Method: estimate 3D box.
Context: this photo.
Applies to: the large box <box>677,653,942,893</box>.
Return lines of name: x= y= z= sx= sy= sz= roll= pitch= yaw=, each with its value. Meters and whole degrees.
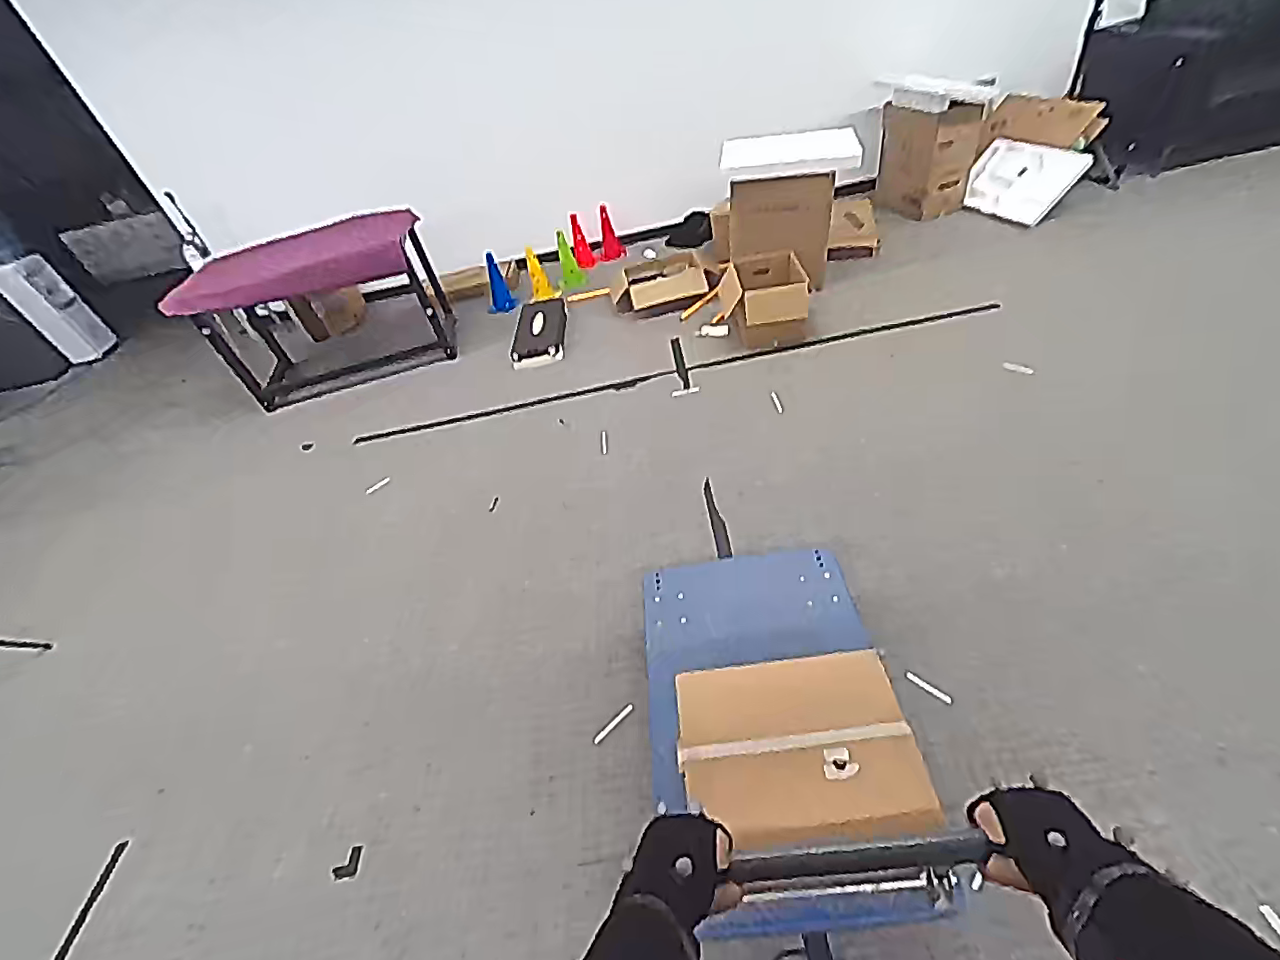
large box: x=0.303 y=0.588 z=1.082 sx=0.408 sy=0.320 sz=0.320 roll=-9 pitch=44 yaw=4
